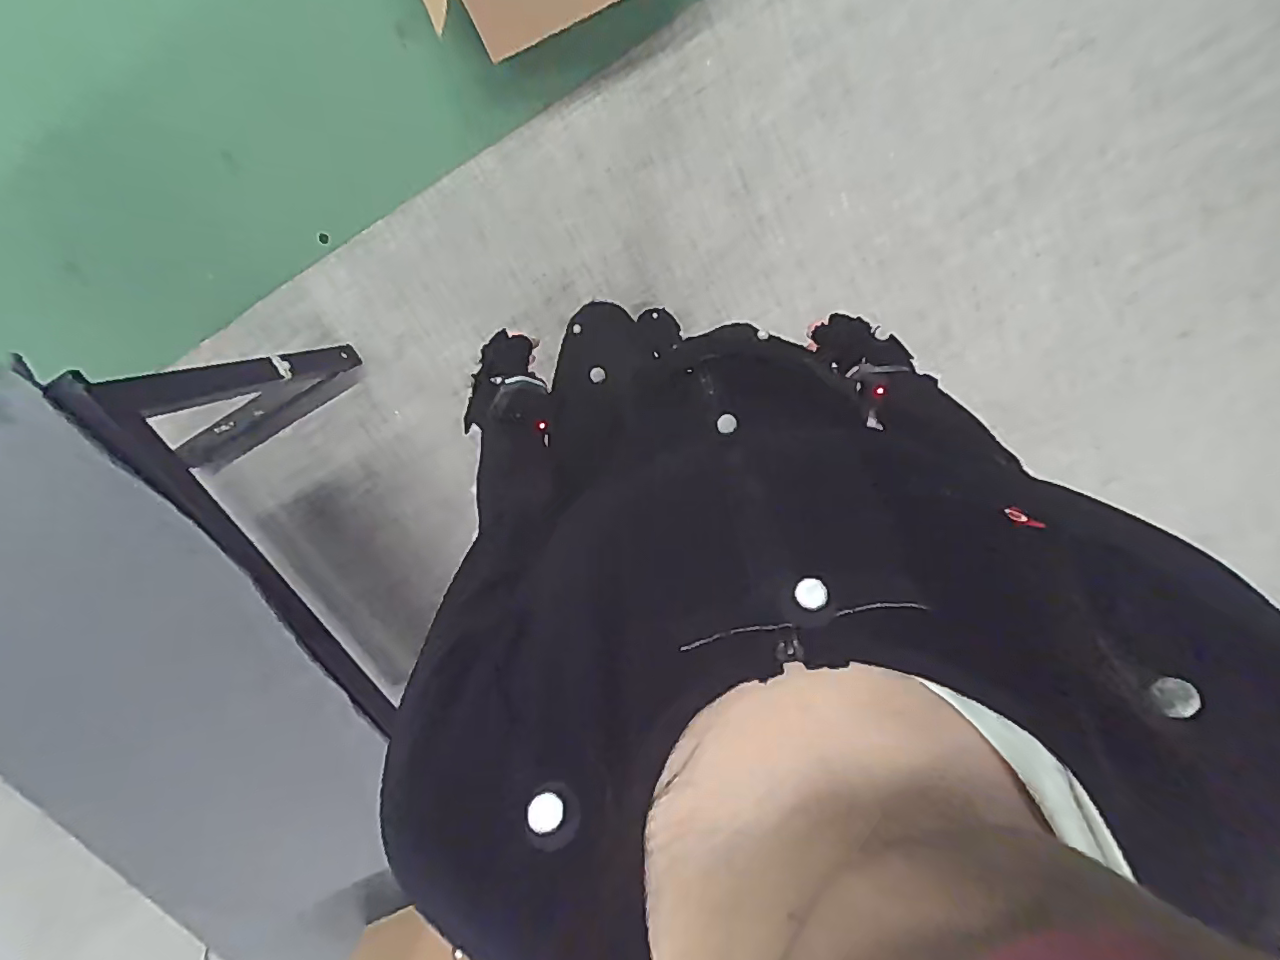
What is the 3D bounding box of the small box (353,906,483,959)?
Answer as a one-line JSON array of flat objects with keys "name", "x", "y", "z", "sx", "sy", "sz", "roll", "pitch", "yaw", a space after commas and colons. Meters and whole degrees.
[{"name": "small box", "x": -0.397, "y": 0.881, "z": 0.916, "sx": 0.179, "sy": 0.176, "sz": 0.168, "roll": -30, "pitch": 105, "yaw": 10}]
